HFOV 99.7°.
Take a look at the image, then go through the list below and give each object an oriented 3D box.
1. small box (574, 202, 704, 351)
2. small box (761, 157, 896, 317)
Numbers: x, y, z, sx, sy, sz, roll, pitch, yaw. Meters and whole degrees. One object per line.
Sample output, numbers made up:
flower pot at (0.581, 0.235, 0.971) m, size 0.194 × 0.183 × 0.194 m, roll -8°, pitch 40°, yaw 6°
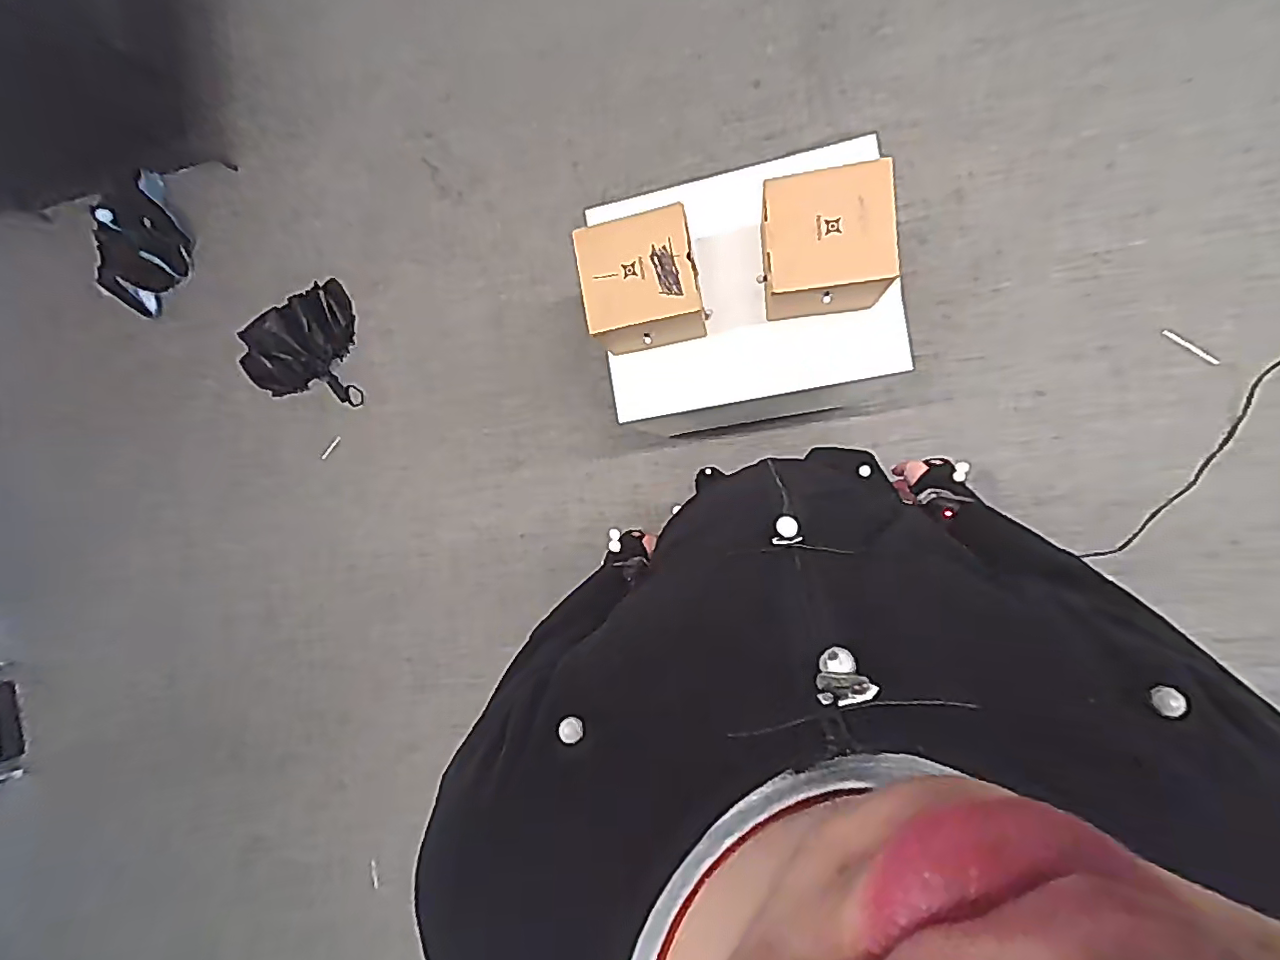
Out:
small box at (0.008, -0.322, 0.891) m, size 0.179 × 0.176 × 0.168 m, roll -9°, pitch 90°, yaw 11°
small box at (0.281, -0.361, 0.839) m, size 0.179 × 0.176 × 0.168 m, roll -4°, pitch 93°, yaw 11°
